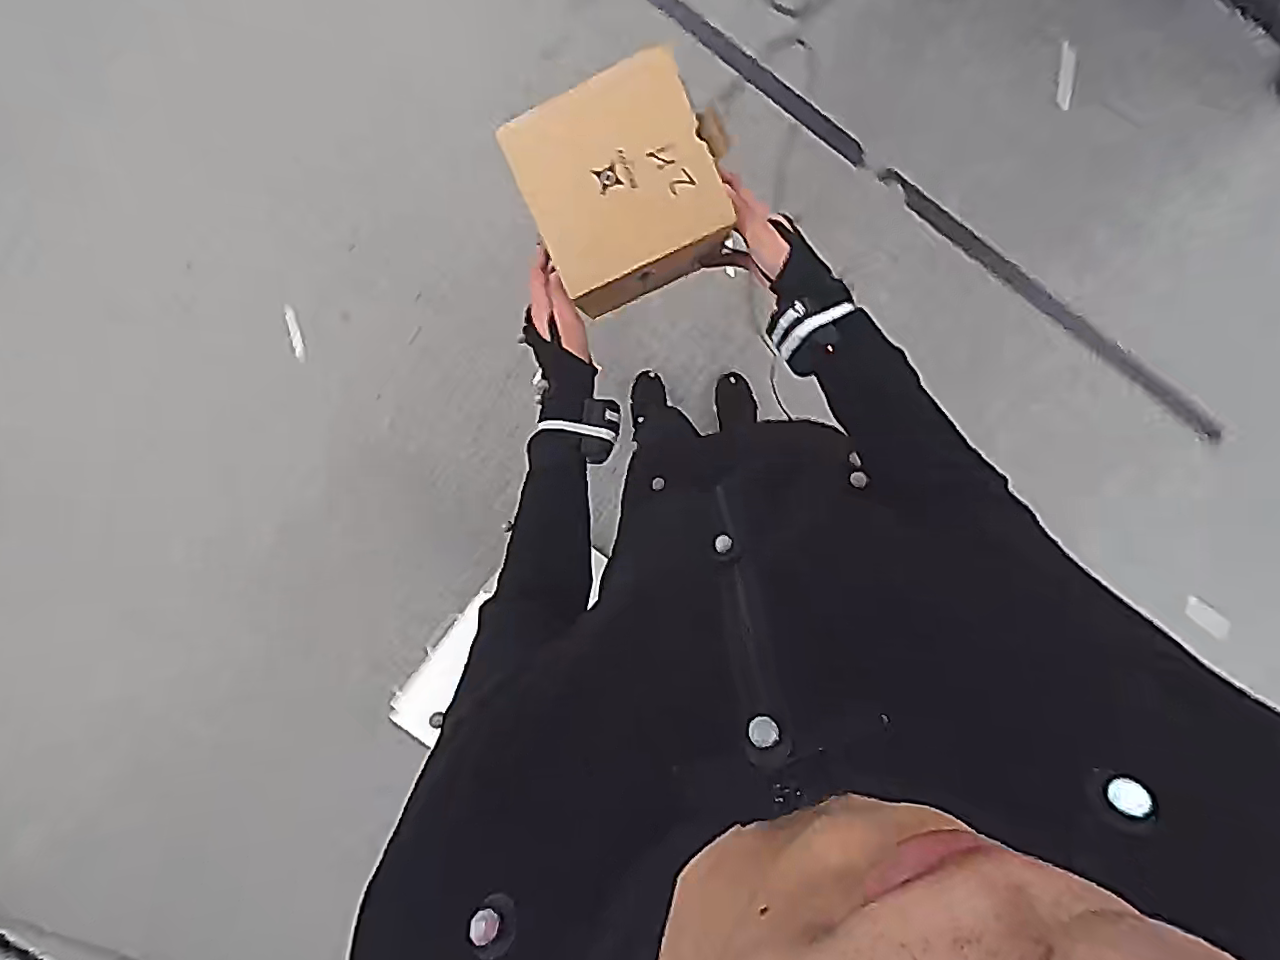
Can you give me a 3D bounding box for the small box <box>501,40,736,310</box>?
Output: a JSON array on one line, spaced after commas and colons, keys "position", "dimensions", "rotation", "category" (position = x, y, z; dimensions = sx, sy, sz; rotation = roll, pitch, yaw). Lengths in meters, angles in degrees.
[{"position": [-0.016, -0.296, 0.574], "dimensions": [0.179, 0.176, 0.168], "rotation": [-22, 99, 6], "category": "small box"}]
